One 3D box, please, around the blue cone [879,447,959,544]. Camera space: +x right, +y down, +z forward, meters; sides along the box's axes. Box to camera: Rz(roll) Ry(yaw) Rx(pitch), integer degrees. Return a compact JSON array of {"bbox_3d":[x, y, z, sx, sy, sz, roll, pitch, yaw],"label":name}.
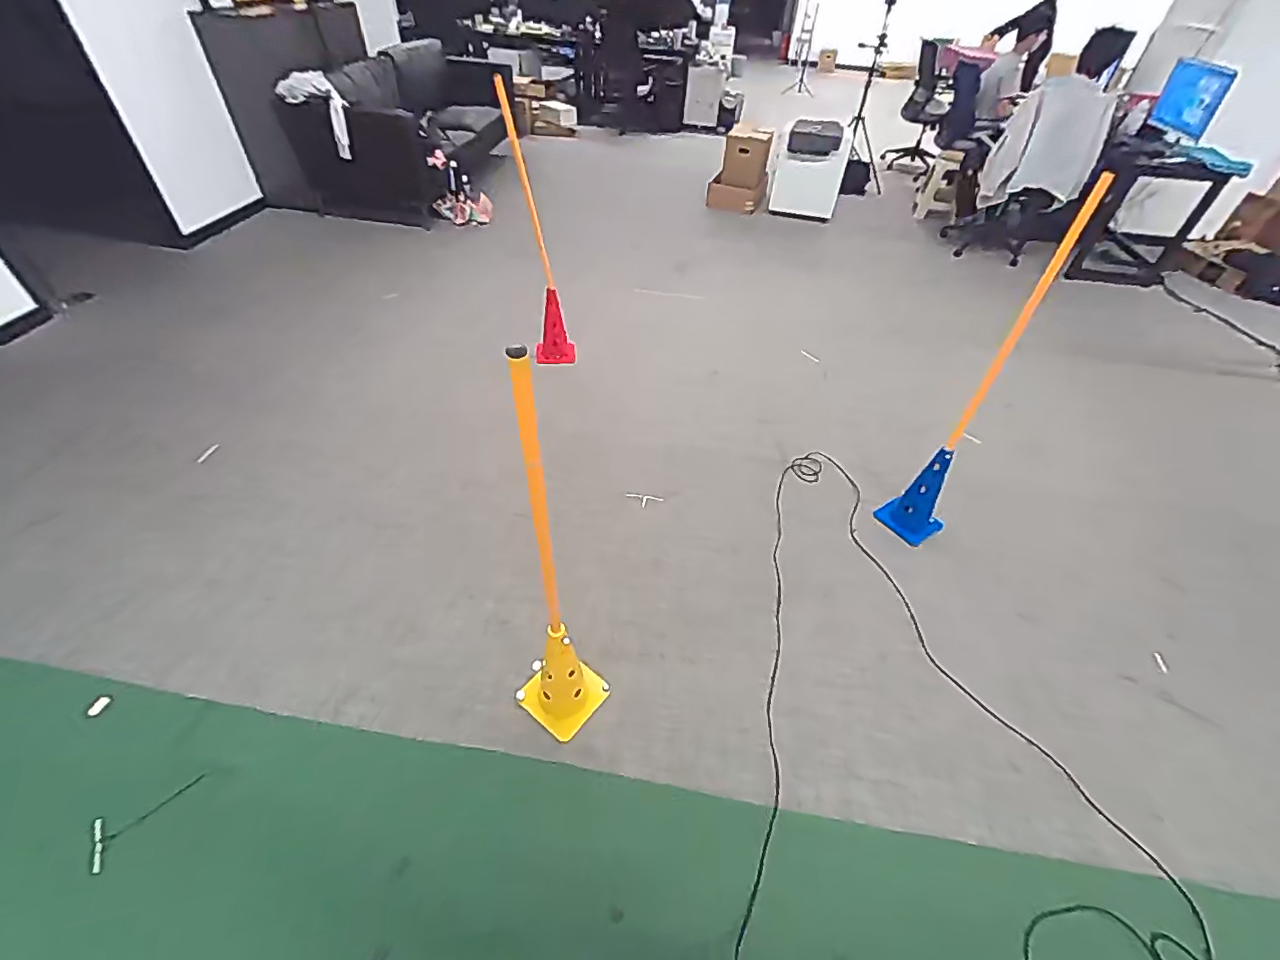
[{"bbox_3d":[1.045,0.032,1.962,0.193,0.380,0.192,-23,50,-29],"label":"blue cone"}]
